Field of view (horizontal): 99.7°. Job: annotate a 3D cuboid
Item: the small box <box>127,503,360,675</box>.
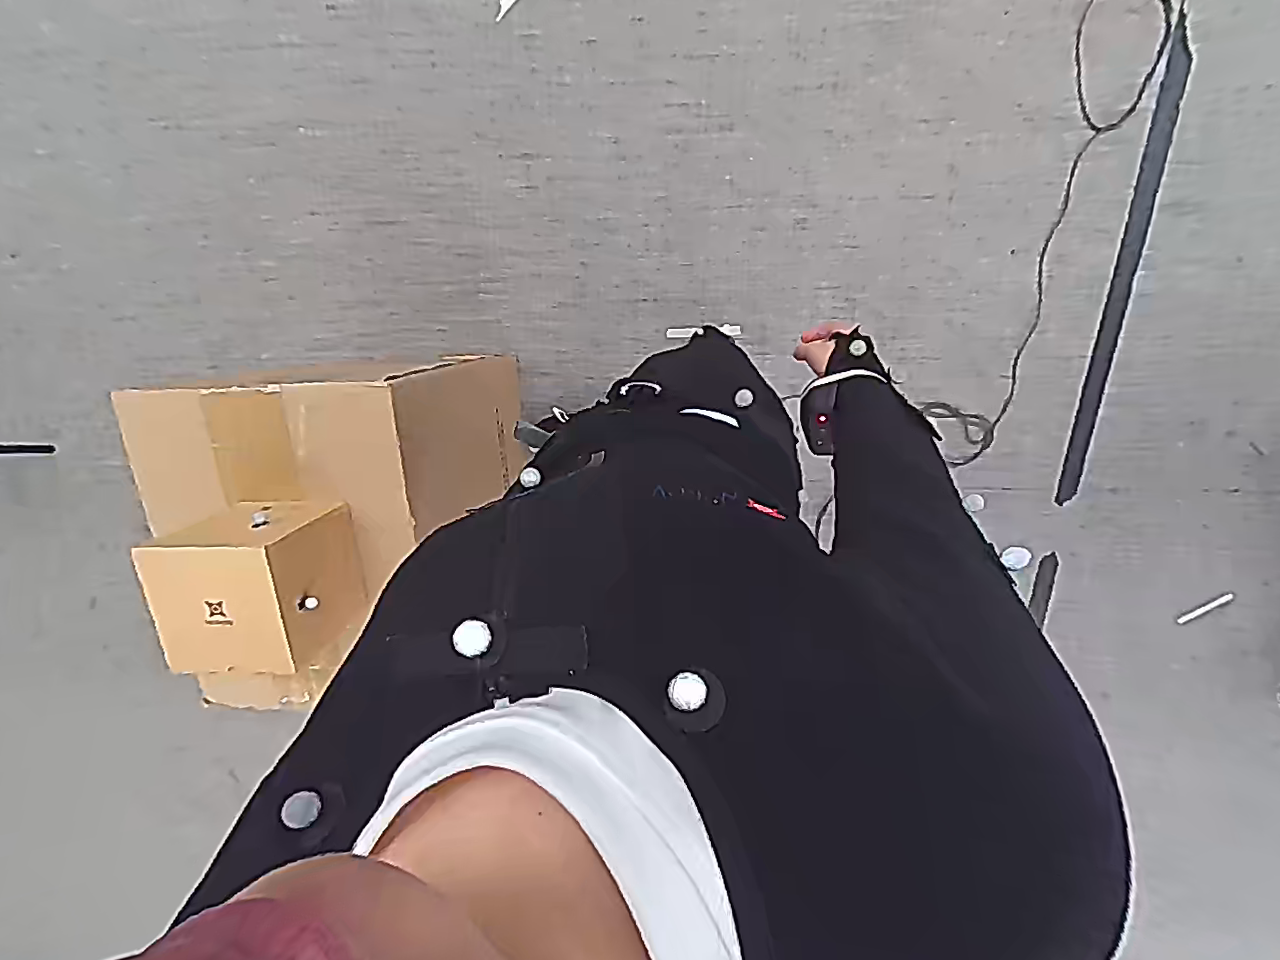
[{"bbox_3d":[-0.506,0.134,0.720,0.168,0.176,0.179,-1,107,3],"label":"small box"}]
